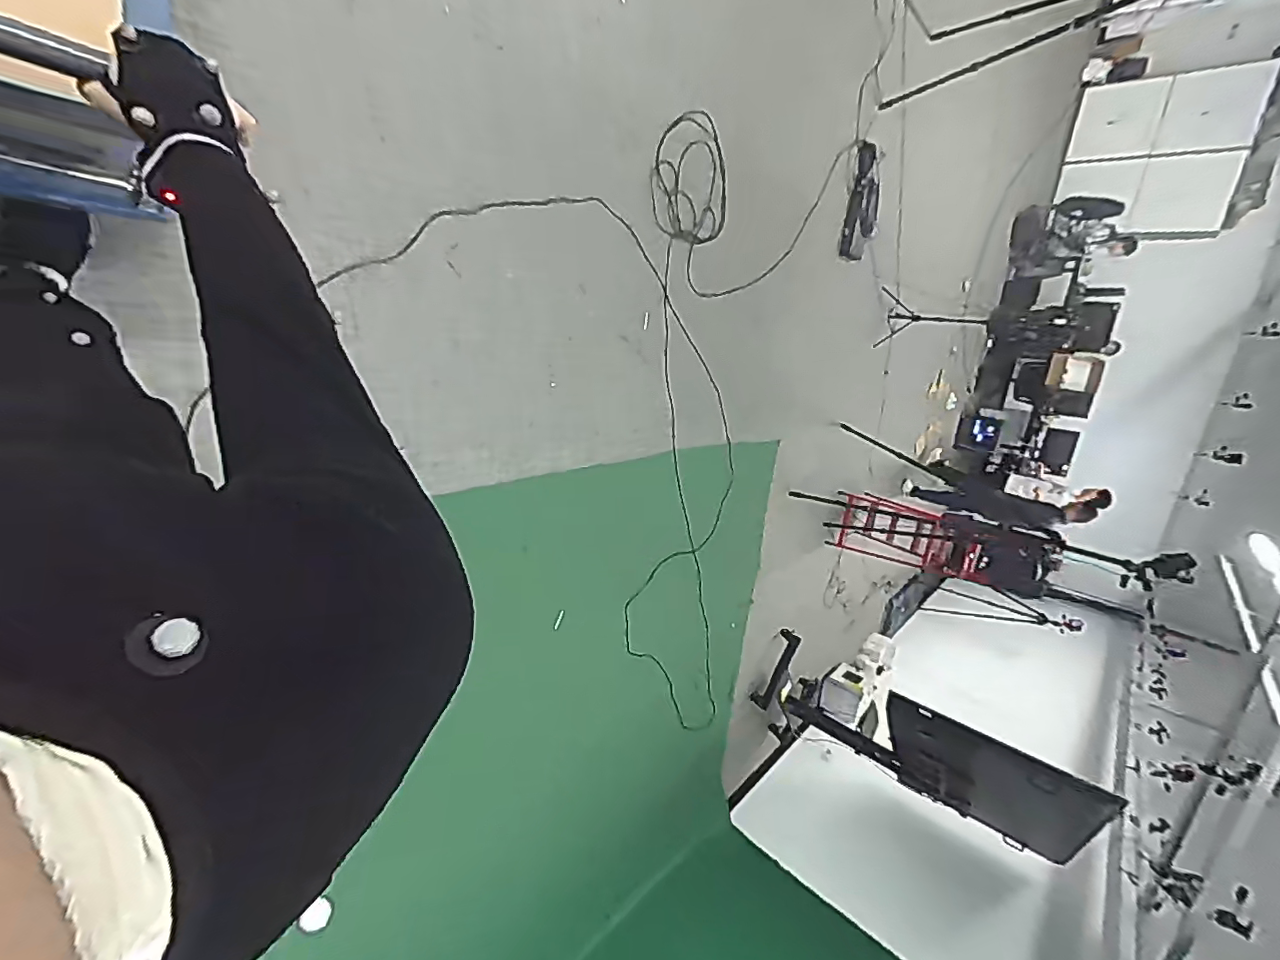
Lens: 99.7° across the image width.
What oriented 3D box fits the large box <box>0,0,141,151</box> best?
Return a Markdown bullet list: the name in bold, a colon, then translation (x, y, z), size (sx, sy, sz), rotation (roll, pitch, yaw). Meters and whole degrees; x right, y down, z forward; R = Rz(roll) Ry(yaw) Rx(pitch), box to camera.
- **large box**: translation (-0.894, -0.713, 0.698), size (0.320, 0.320, 0.408), rotation (-9, 110, -48)
